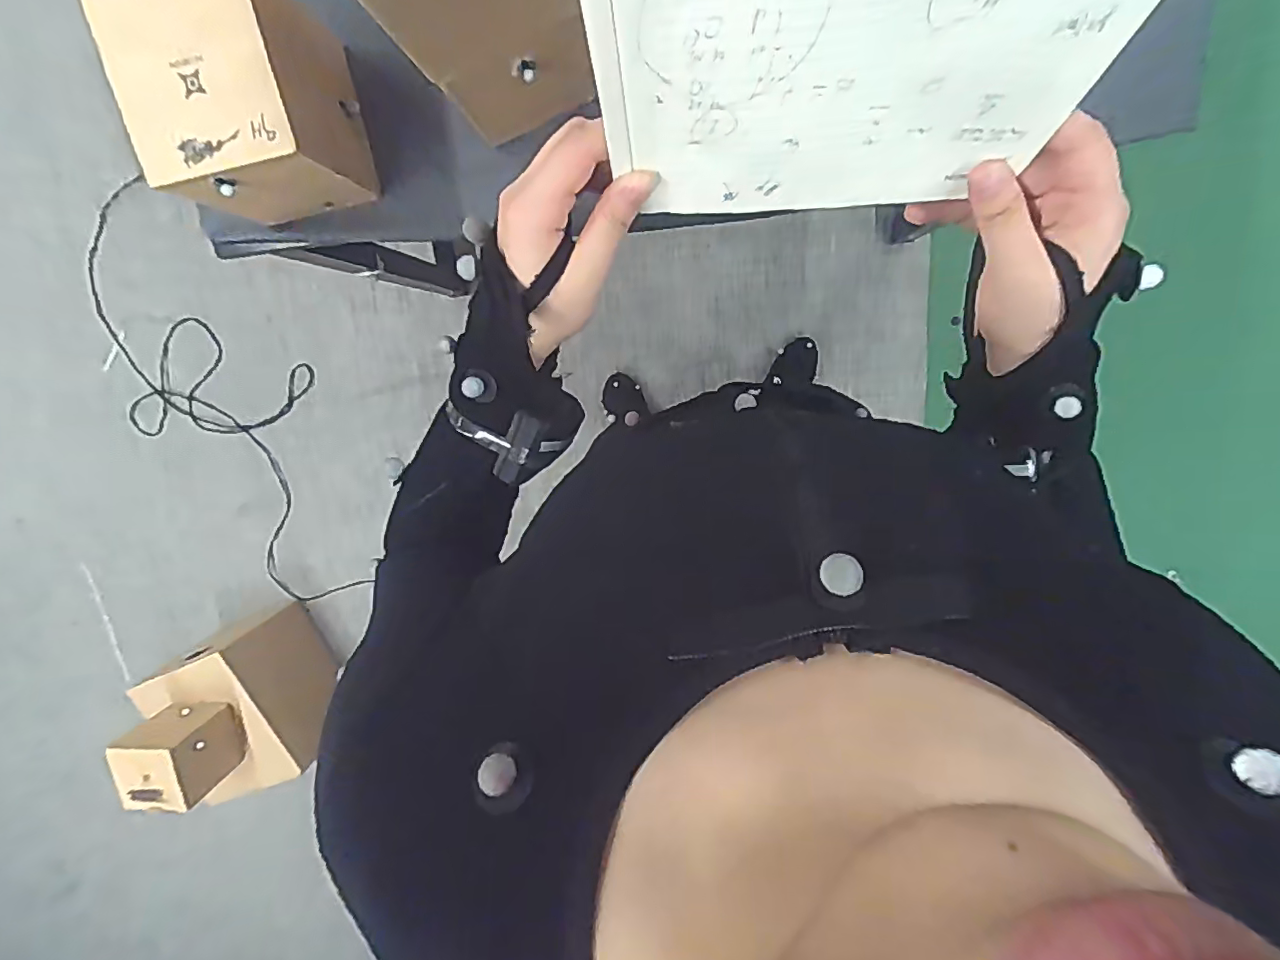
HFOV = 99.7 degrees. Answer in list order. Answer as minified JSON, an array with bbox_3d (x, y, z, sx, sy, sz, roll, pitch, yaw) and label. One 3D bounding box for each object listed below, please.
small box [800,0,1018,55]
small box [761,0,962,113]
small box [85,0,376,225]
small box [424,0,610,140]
[{"bbox_3d":[0.218,-0.448,0.384,0.179,0.176,0.168,-6,102,6],"label":"small box"},{"bbox_3d":[0.225,-0.507,0.537,0.168,0.176,0.179,11,104,2],"label":"small box"},{"bbox_3d":[-0.434,-0.411,0.607,0.168,0.176,0.179,-10,102,6],"label":"small box"},{"bbox_3d":[-0.146,-0.499,0.568,0.179,0.176,0.168,-21,101,8],"label":"small box"}]
